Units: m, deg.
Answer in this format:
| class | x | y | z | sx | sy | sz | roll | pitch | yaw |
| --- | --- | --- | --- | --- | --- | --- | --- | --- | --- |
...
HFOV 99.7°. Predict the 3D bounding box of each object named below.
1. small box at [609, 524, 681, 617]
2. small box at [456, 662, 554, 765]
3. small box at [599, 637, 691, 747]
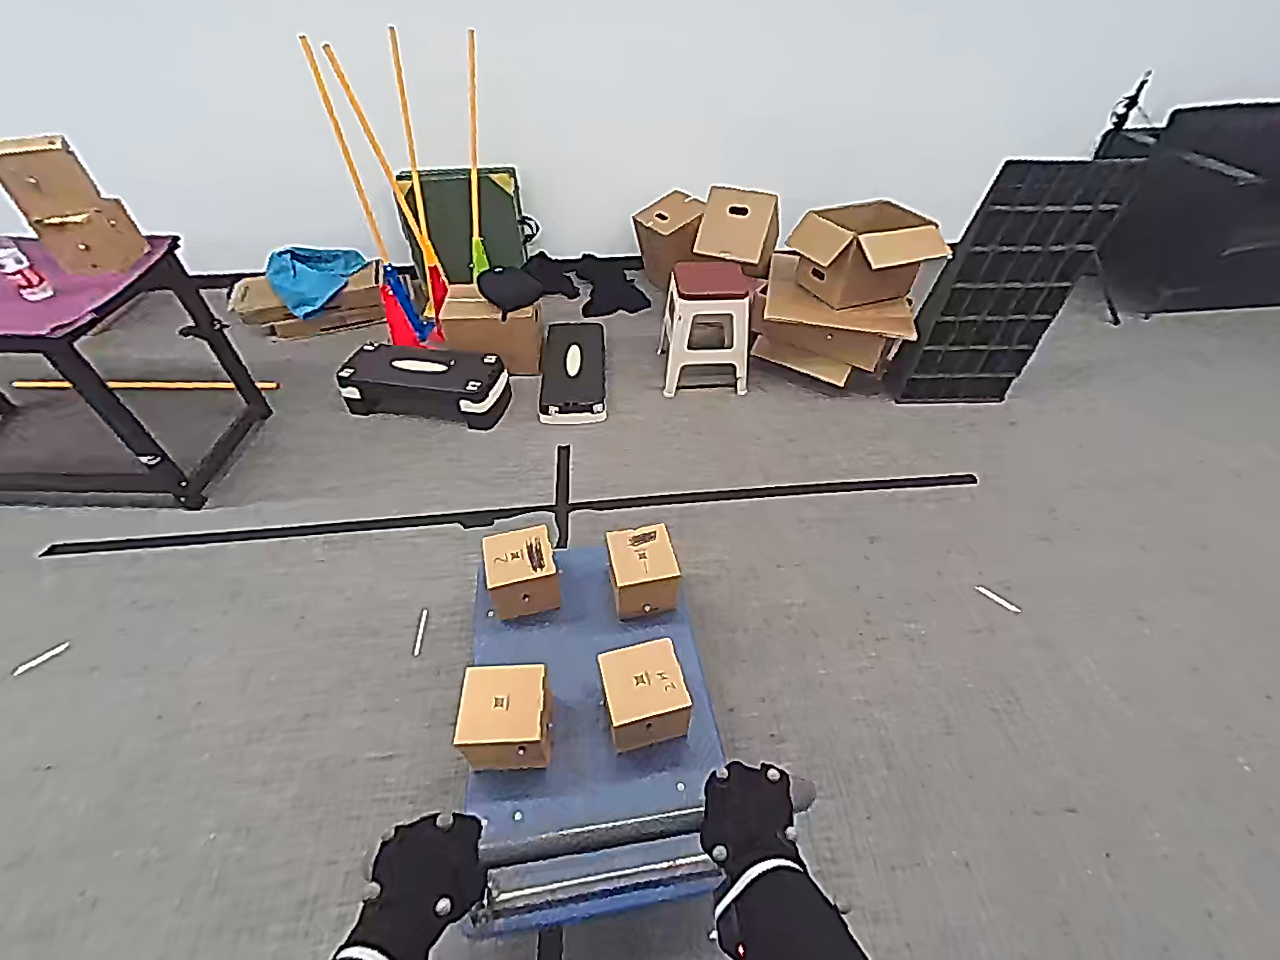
| class | x | y | z | sx | sy | sz | roll | pitch | yaw |
| --- | --- | --- | --- | --- | --- | --- | --- | --- | --- |
| small box | 0.009 | 0.249 | 1.483 | 0.168 | 0.176 | 0.179 | -8 | 48 | -9 |
| small box | -0.293 | 0.526 | 1.214 | 0.179 | 0.176 | 0.168 | -1 | 46 | -3 |
| small box | 0.009 | 0.493 | 1.248 | 0.179 | 0.176 | 0.168 | -10 | 47 | -10 |
